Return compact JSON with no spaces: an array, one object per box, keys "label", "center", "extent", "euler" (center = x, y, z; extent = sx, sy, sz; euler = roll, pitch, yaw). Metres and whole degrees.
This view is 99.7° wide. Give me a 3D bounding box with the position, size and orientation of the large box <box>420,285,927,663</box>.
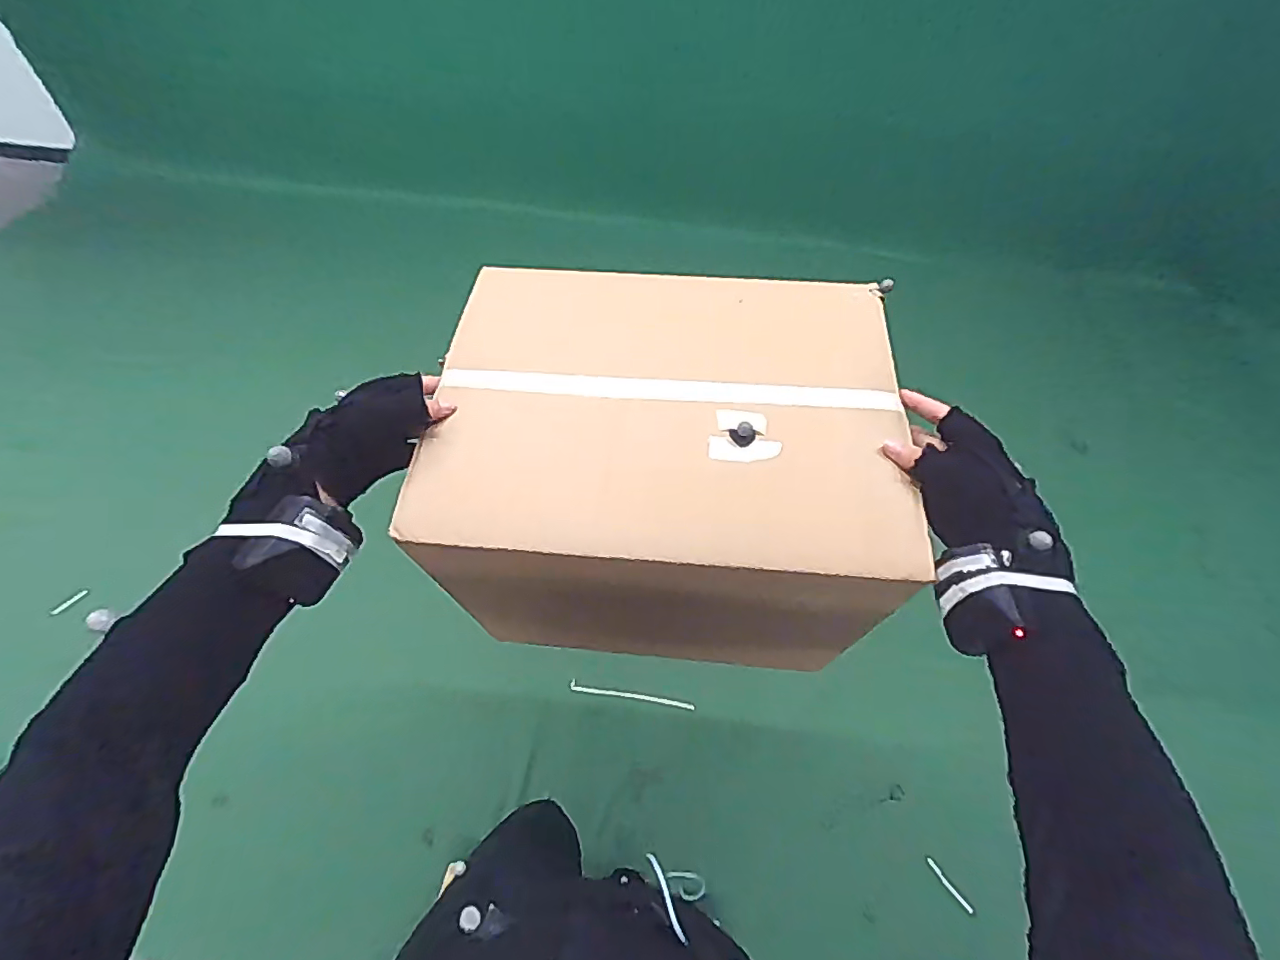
[{"label":"large box","center":[0.032,0.008,0.620],"extent":[0.408,0.320,0.320],"euler":[4,60,3]}]
